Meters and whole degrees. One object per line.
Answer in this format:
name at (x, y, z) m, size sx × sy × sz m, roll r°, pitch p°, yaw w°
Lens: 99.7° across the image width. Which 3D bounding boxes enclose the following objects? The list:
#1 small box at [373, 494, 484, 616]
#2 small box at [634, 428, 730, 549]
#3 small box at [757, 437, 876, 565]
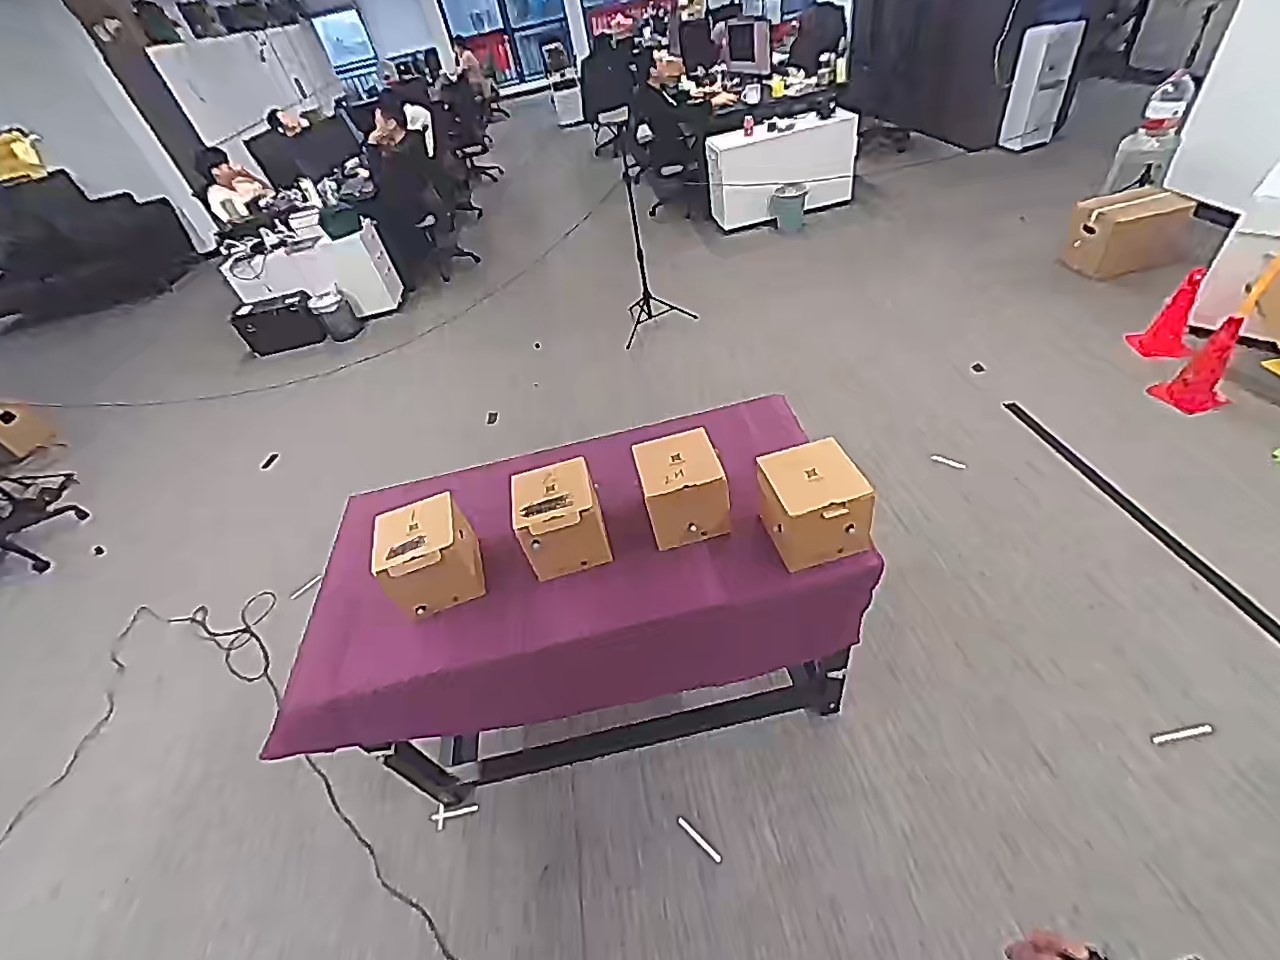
small box at (-0.447, 0.167, 1.158) m, size 0.168 × 0.176 × 0.179 m, roll -20°, pitch 42°, yaw -7°
small box at (0.091, 0.019, 1.172) m, size 0.168 × 0.176 × 0.179 m, roll -15°, pitch 43°, yaw 0°
small box at (0.344, 0.048, 1.076) m, size 0.168 × 0.176 × 0.179 m, roll -15°, pitch 42°, yaw -2°
